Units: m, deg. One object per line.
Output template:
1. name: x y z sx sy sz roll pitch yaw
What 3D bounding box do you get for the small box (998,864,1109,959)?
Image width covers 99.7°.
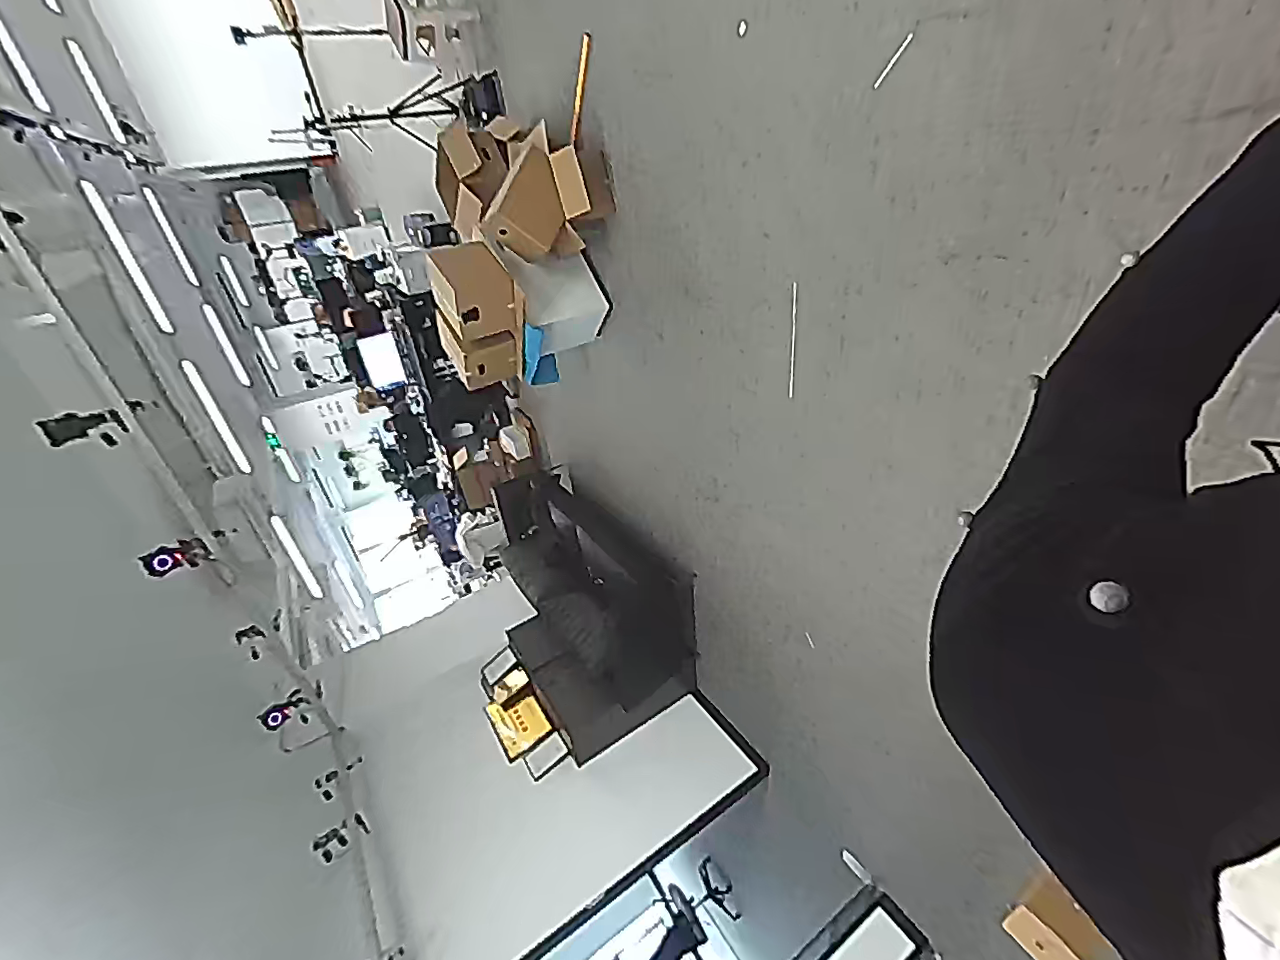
1. small box: 1.166 1.241 1.525 0.168 0.176 0.179 40 143 42
